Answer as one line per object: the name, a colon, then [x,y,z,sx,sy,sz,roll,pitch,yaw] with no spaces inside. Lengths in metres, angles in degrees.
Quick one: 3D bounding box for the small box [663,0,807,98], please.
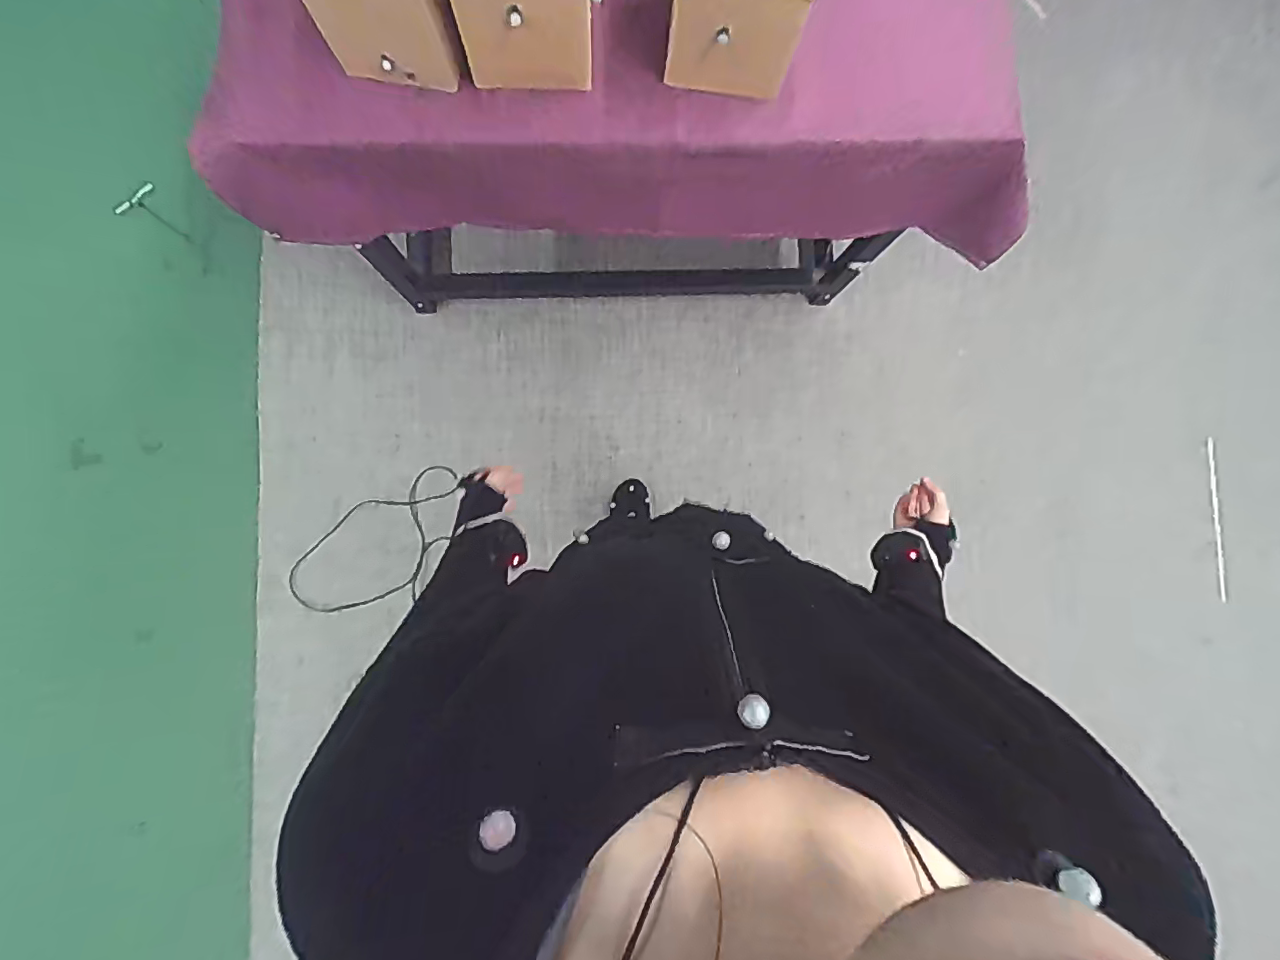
small box: [0.128,-0.674,0.751,0.179,0.176,0.168,6,86,-3]
